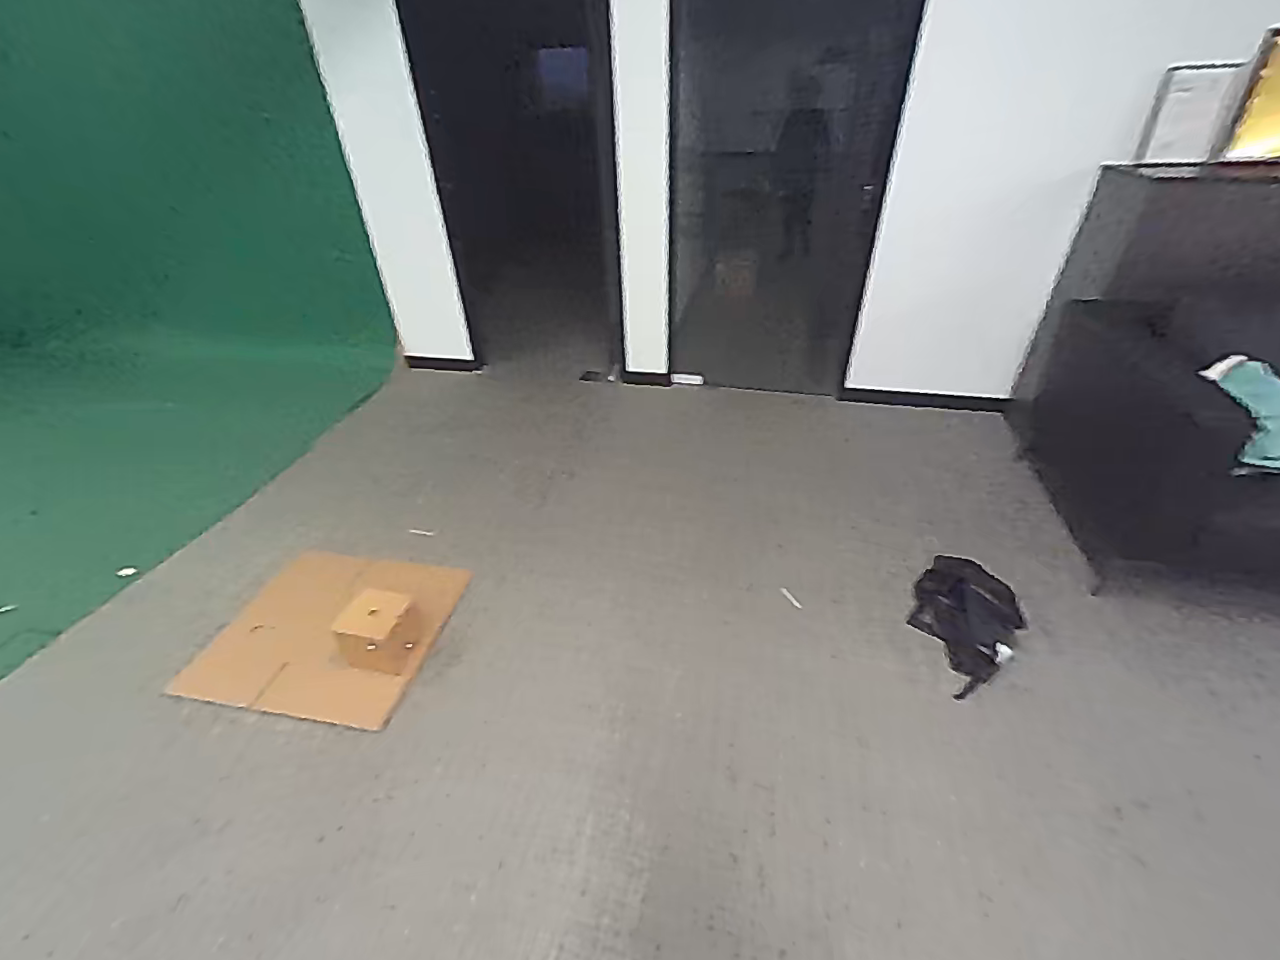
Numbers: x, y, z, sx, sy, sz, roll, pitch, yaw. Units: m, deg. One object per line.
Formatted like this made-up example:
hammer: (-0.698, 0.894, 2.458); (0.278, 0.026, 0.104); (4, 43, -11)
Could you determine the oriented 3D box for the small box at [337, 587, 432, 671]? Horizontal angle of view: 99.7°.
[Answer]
small box: (-0.760, 0.449, 1.625); (0.179, 0.176, 0.168); (7, 36, 11)
